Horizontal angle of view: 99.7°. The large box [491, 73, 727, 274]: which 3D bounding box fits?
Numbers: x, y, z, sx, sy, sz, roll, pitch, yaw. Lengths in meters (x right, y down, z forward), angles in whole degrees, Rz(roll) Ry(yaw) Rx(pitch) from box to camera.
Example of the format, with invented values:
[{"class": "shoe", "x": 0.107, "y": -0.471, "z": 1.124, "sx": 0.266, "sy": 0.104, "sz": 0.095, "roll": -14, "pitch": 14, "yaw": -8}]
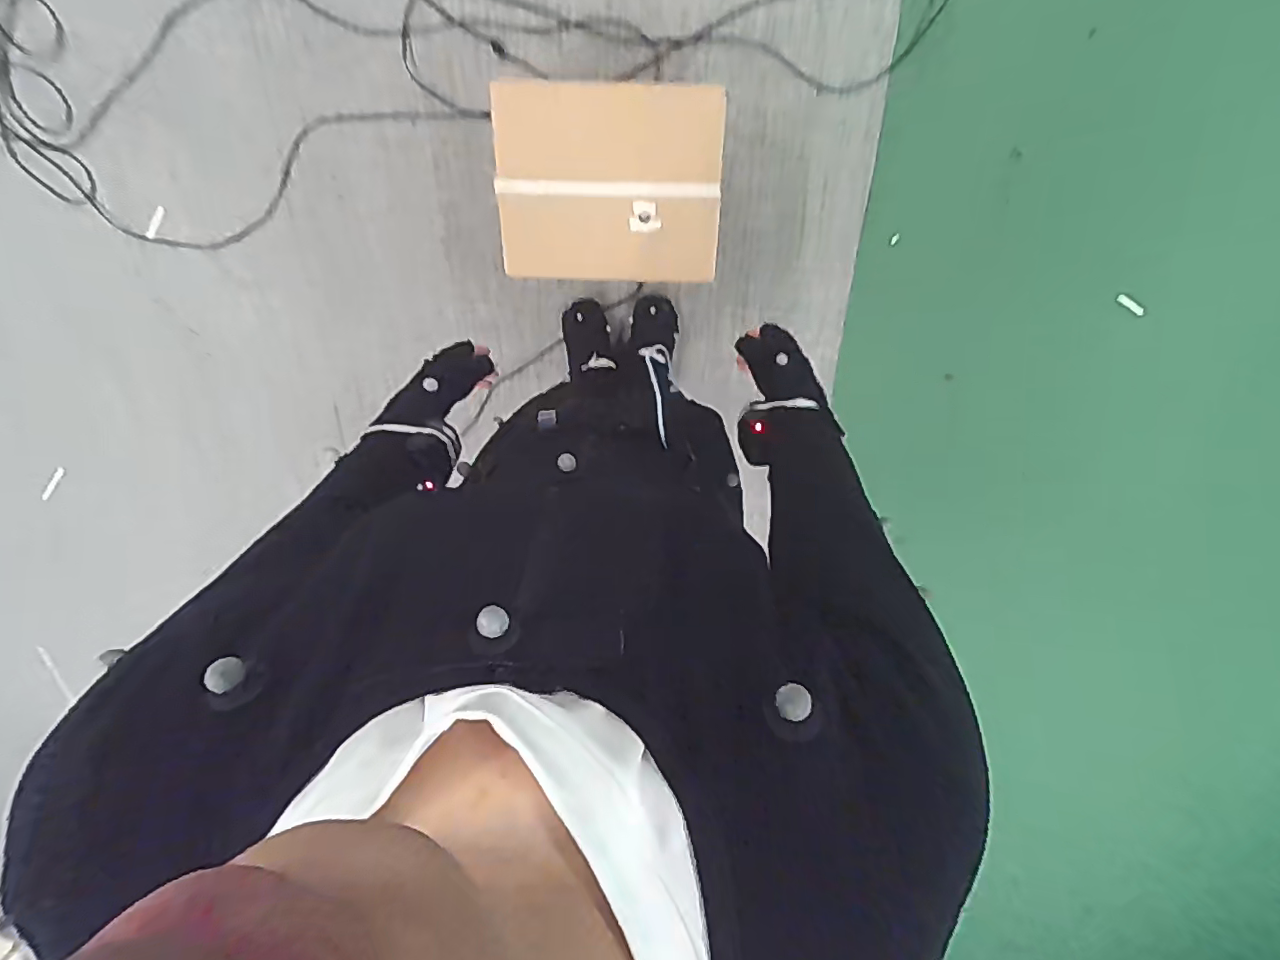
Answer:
[{"class": "large box", "x": -0.054, "y": -0.599, "z": 1.098, "sx": 0.408, "sy": 0.320, "sz": 0.320, "roll": 2, "pitch": 117, "yaw": 0}]
